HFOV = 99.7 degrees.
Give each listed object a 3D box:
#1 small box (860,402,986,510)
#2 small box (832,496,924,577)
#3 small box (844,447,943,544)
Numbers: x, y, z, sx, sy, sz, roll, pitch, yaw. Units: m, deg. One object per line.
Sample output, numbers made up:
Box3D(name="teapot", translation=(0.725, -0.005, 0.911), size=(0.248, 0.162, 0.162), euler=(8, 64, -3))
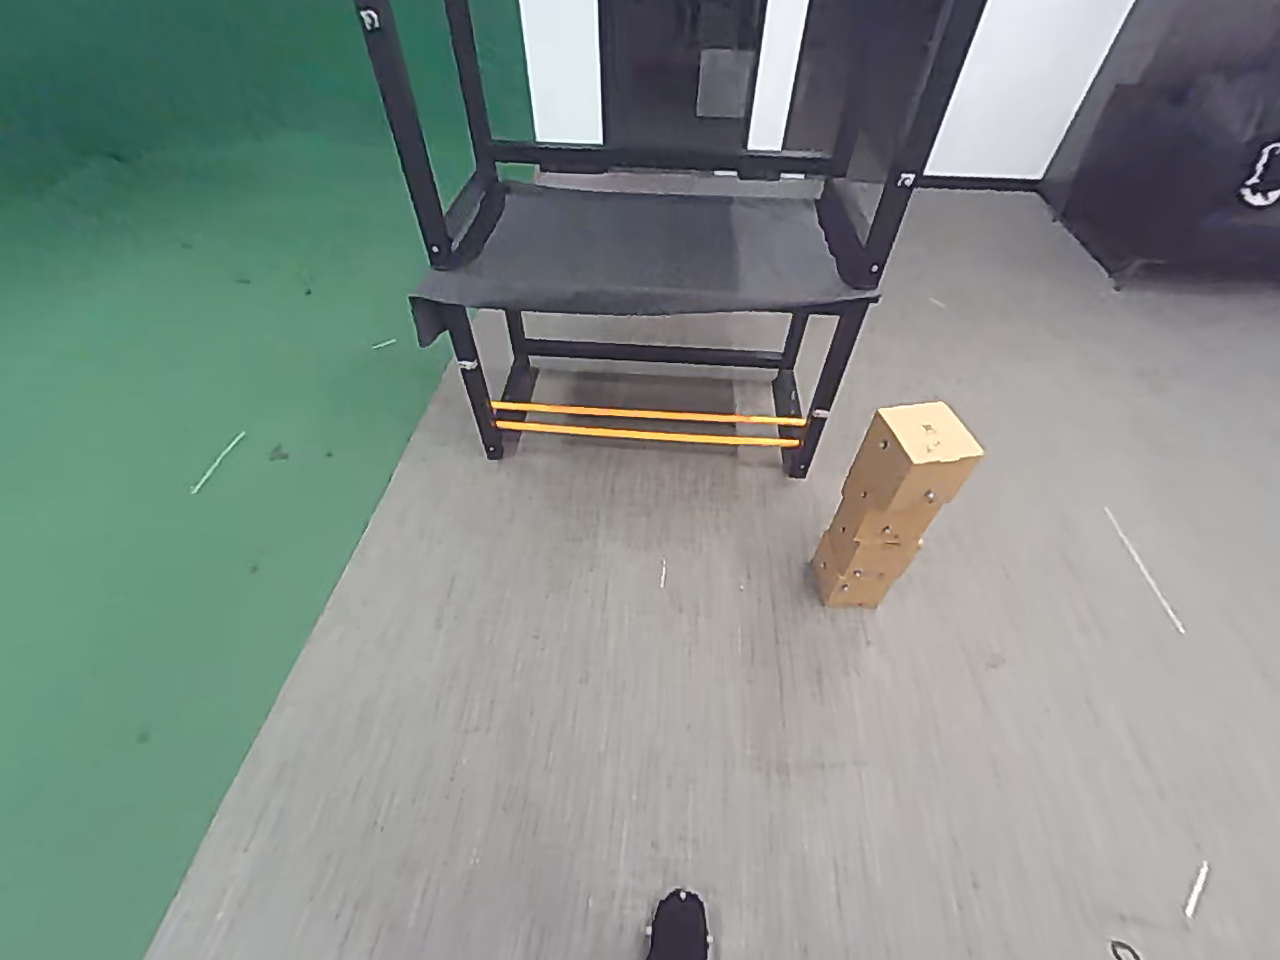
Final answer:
Box3D(name="small box", translation=(0.631, -0.055, 1.237), size=(0.168, 0.176, 0.179), euler=(-7, 50, -6))
Box3D(name="small box", translation=(0.645, 0.152, 1.489), size=(0.168, 0.176, 0.179), euler=(1, 48, 0))
Box3D(name="small box", translation=(0.633, 0.039, 1.372), size=(0.168, 0.176, 0.179), euler=(3, 49, 3))
